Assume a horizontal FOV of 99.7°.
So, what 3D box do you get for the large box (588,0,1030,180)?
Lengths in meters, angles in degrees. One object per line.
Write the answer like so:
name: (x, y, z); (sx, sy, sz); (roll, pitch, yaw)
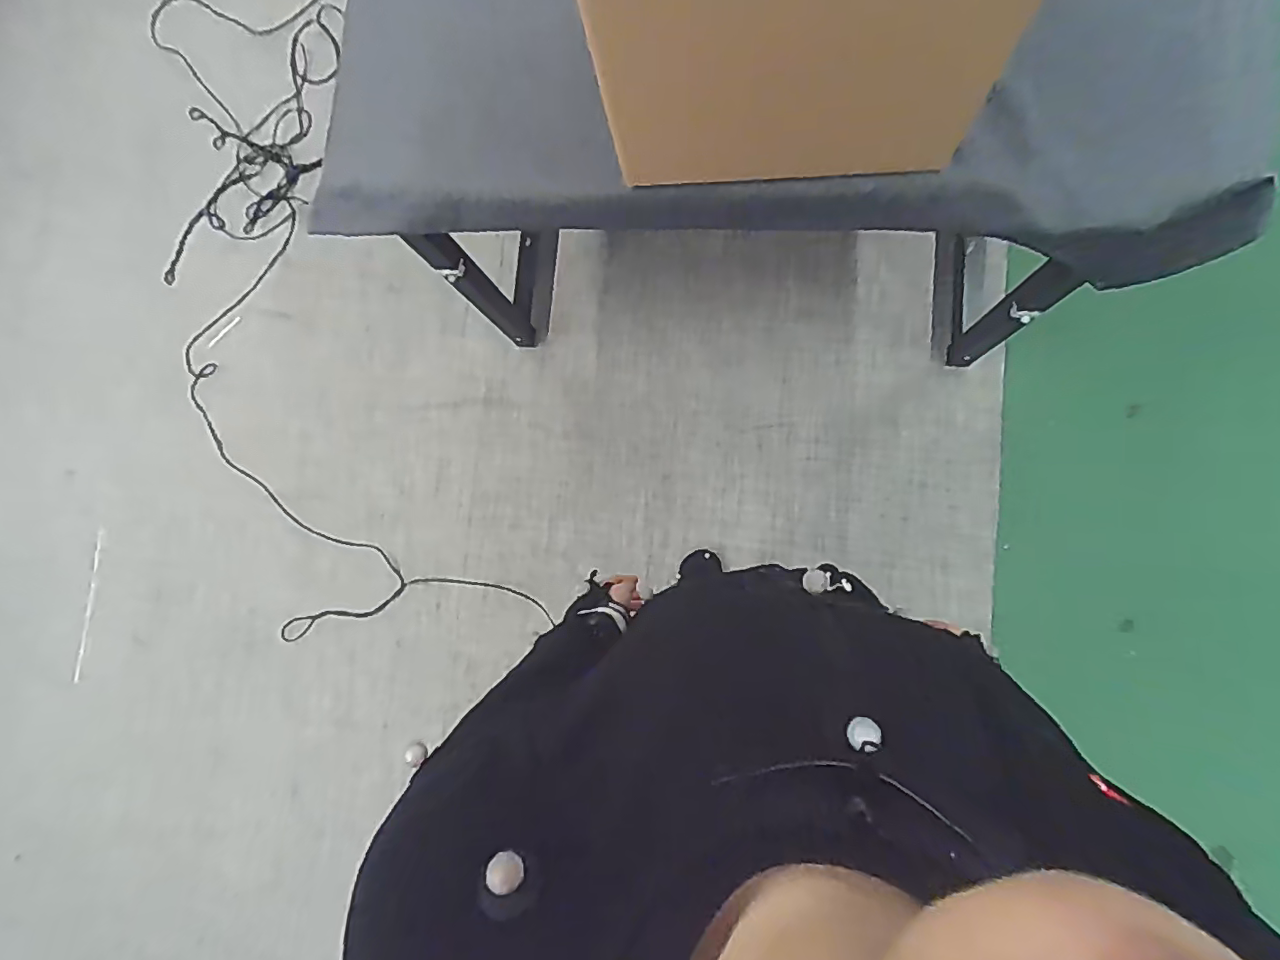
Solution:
large box: (0.161, -0.566, 0.572); (0.408, 0.320, 0.320); (1, 83, 7)
